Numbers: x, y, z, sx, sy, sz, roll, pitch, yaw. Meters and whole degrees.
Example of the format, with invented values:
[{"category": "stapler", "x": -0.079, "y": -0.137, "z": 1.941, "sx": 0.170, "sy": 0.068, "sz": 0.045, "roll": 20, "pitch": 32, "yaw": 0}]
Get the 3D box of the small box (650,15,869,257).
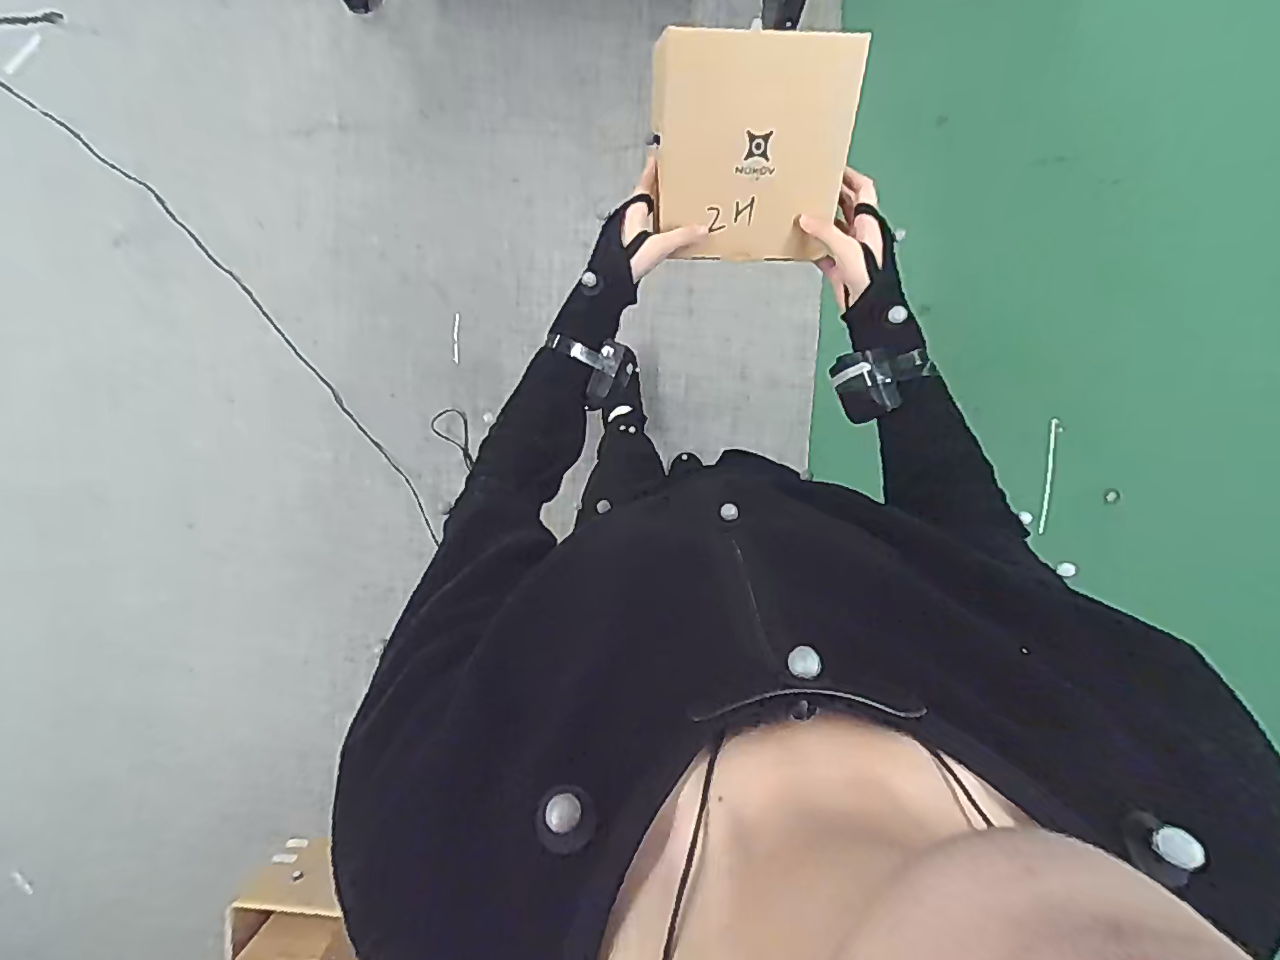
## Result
[{"category": "small box", "x": 0.098, "y": -0.333, "z": 0.539, "sx": 0.168, "sy": 0.176, "sz": 0.179, "roll": 1, "pitch": 124, "yaw": -2}]
